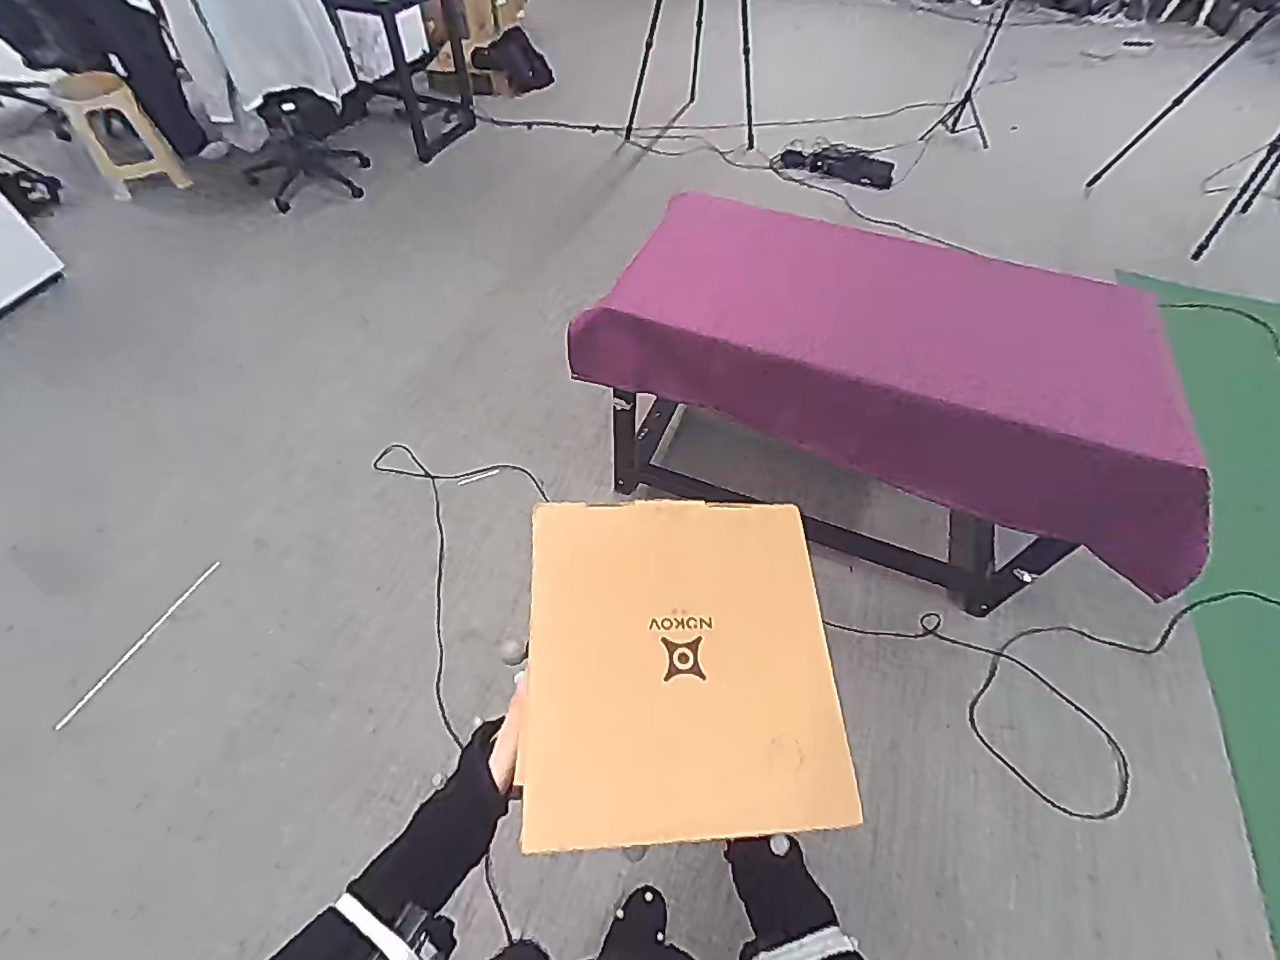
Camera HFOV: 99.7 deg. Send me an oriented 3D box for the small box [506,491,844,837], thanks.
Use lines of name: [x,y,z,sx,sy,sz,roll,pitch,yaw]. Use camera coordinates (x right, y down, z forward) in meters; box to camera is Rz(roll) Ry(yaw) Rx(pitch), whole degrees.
small box: [0.007,0.121,0.362,0.168,0.176,0.179,0,61,-8]
